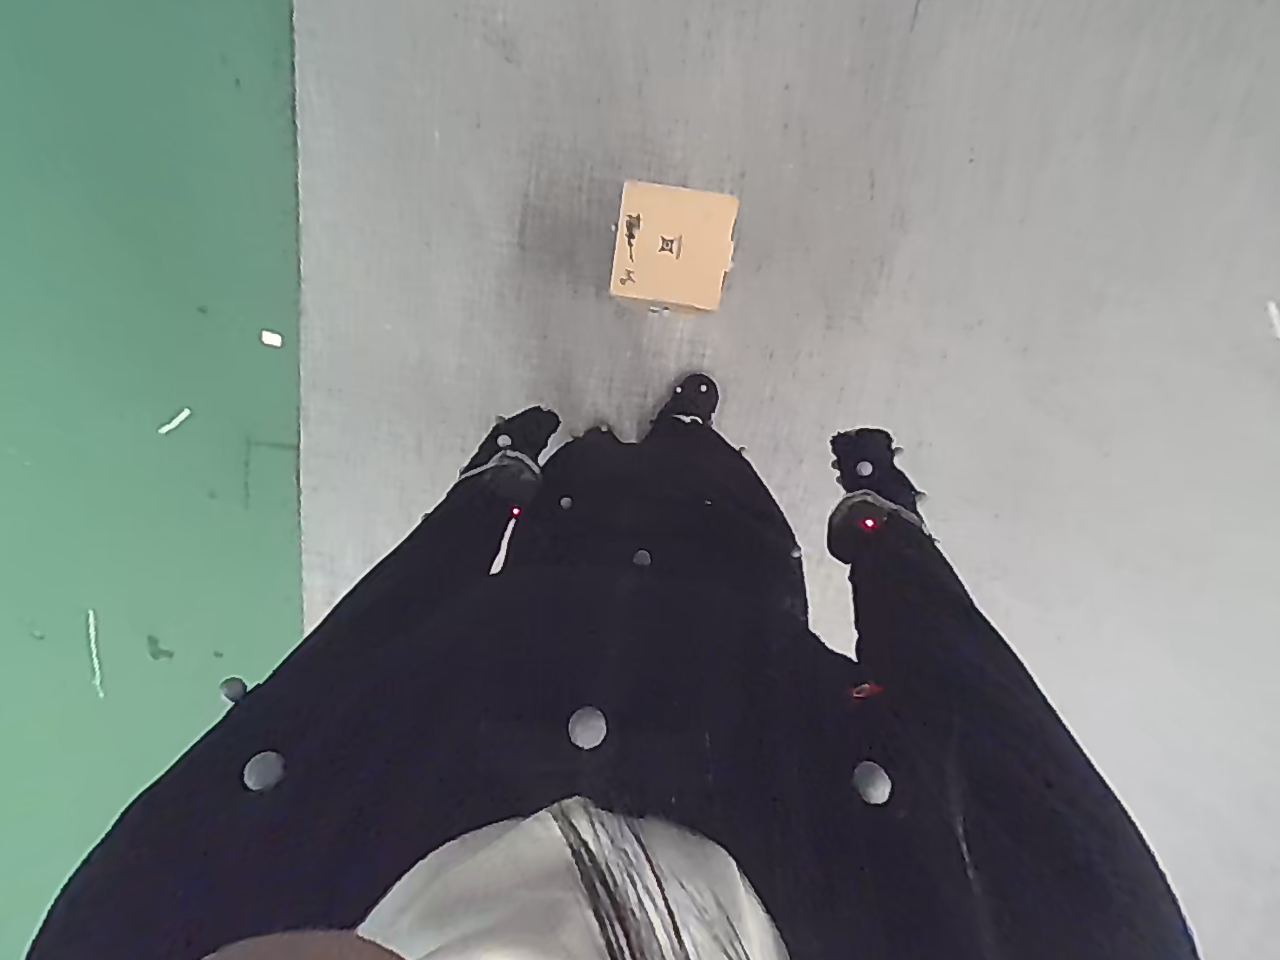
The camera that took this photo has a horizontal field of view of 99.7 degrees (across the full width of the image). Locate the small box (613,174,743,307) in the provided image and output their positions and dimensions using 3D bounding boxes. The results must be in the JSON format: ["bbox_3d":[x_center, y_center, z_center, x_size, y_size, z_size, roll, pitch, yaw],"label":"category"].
[{"bbox_3d":[0.061,-0.386,0.901,0.179,0.176,0.168,10,106,2],"label":"small box"}]
